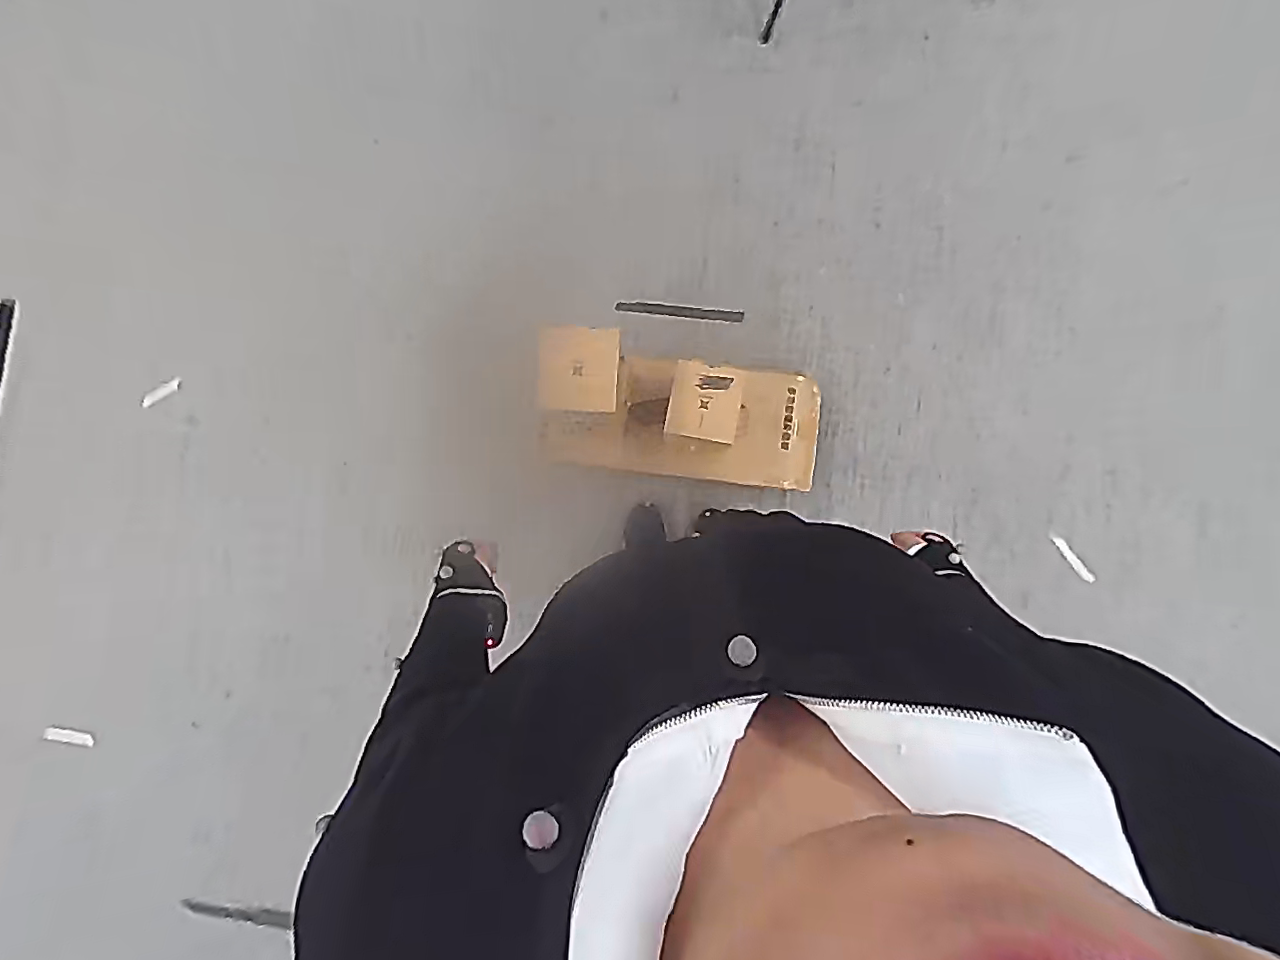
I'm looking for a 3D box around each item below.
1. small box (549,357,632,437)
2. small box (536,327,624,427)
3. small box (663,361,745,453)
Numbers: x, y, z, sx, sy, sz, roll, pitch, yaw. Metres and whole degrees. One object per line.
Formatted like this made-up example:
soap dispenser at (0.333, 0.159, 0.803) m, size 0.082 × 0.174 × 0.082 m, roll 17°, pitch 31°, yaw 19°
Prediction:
small box at (-0.115, -0.209, 1.340) m, size 0.168 × 0.176 × 0.179 m, roll 9°, pitch 88°, yaw 2°
small box at (-0.124, -0.218, 1.177) m, size 0.168 × 0.176 × 0.179 m, roll 2°, pitch 88°, yaw 2°
small box at (0.151, -0.172, 1.330) m, size 0.168 × 0.176 × 0.179 m, roll 11°, pitch 88°, yaw 3°
